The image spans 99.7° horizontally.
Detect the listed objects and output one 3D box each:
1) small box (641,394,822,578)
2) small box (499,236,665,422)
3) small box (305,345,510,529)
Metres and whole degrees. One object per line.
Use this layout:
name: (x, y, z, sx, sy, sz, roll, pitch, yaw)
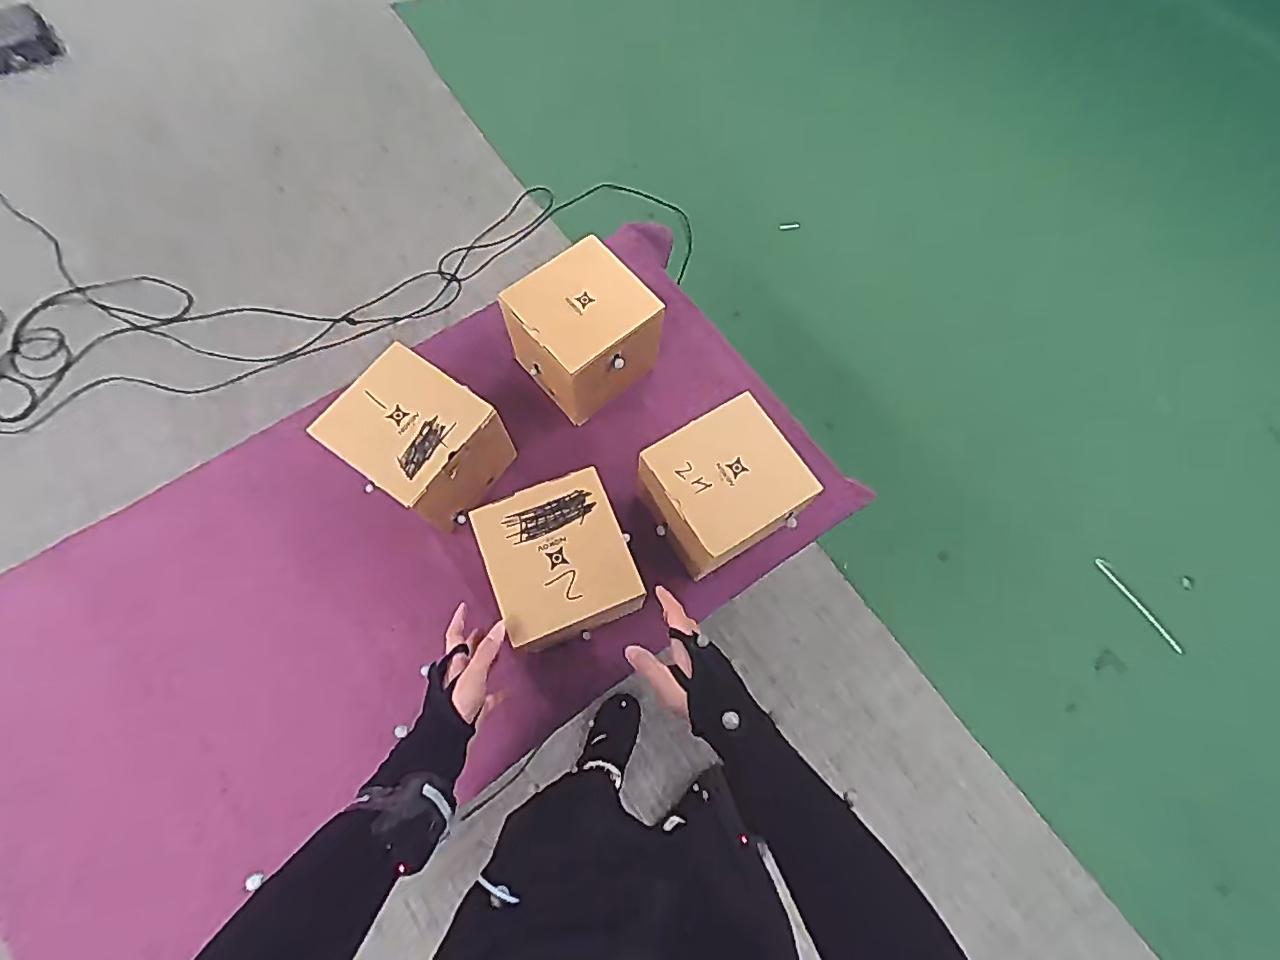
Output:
small box: (0.112, 0.016, 0.752, 0.179, 0.176, 0.168, -30, 74, -11)
small box: (-0.085, -0.222, 0.828, 0.179, 0.176, 0.168, -40, 78, -12)
small box: (-0.307, -0.048, 0.761, 0.179, 0.176, 0.168, 34, 74, 9)
